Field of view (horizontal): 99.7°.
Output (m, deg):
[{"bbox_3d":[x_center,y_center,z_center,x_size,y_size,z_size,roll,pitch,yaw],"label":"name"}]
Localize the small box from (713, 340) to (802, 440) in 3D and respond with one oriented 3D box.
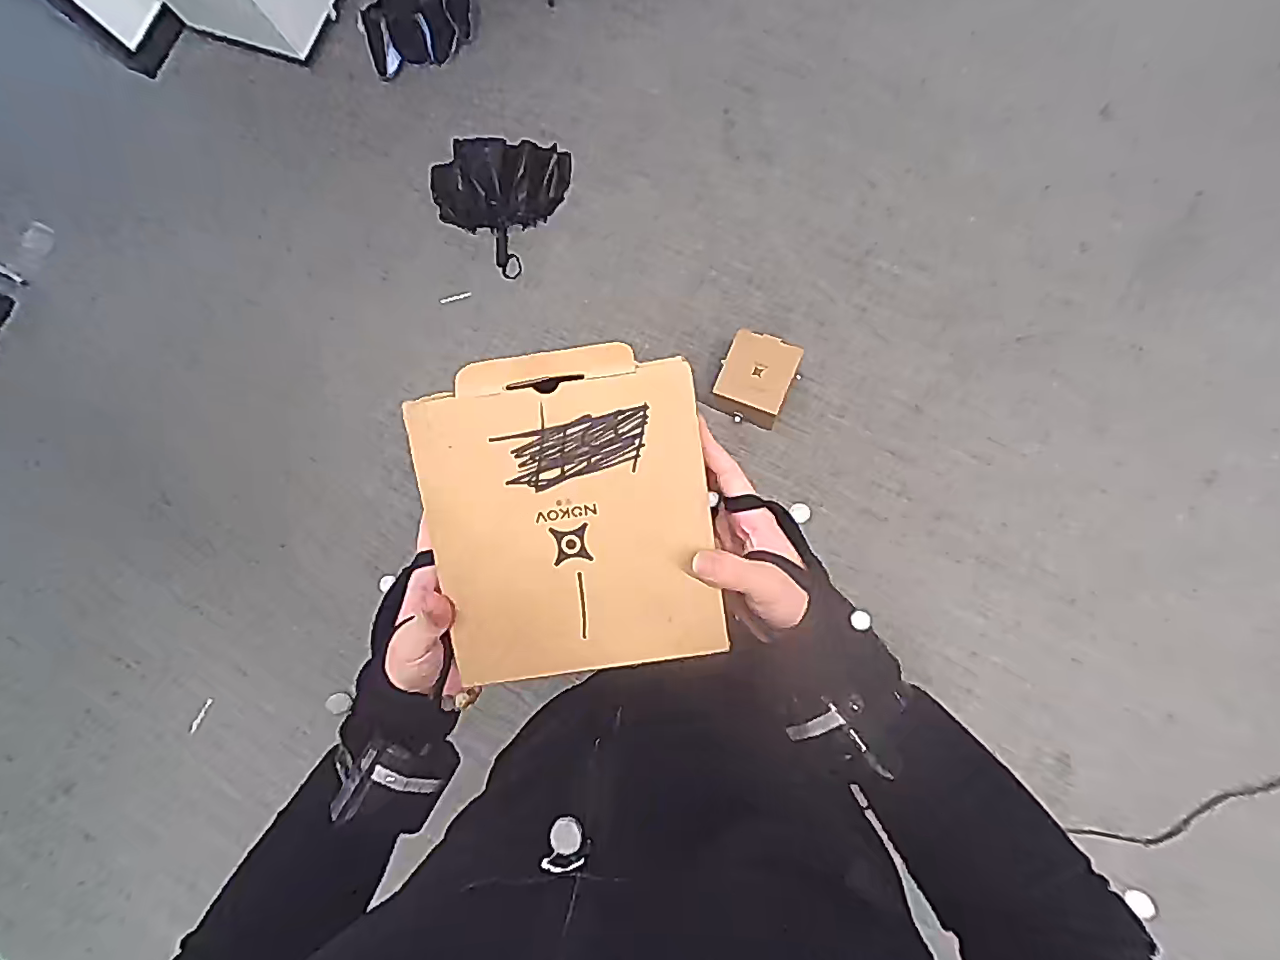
[{"bbox_3d":[0.294,-0.222,1.370,0.168,0.176,0.179,21,86,13],"label":"small box"}]
